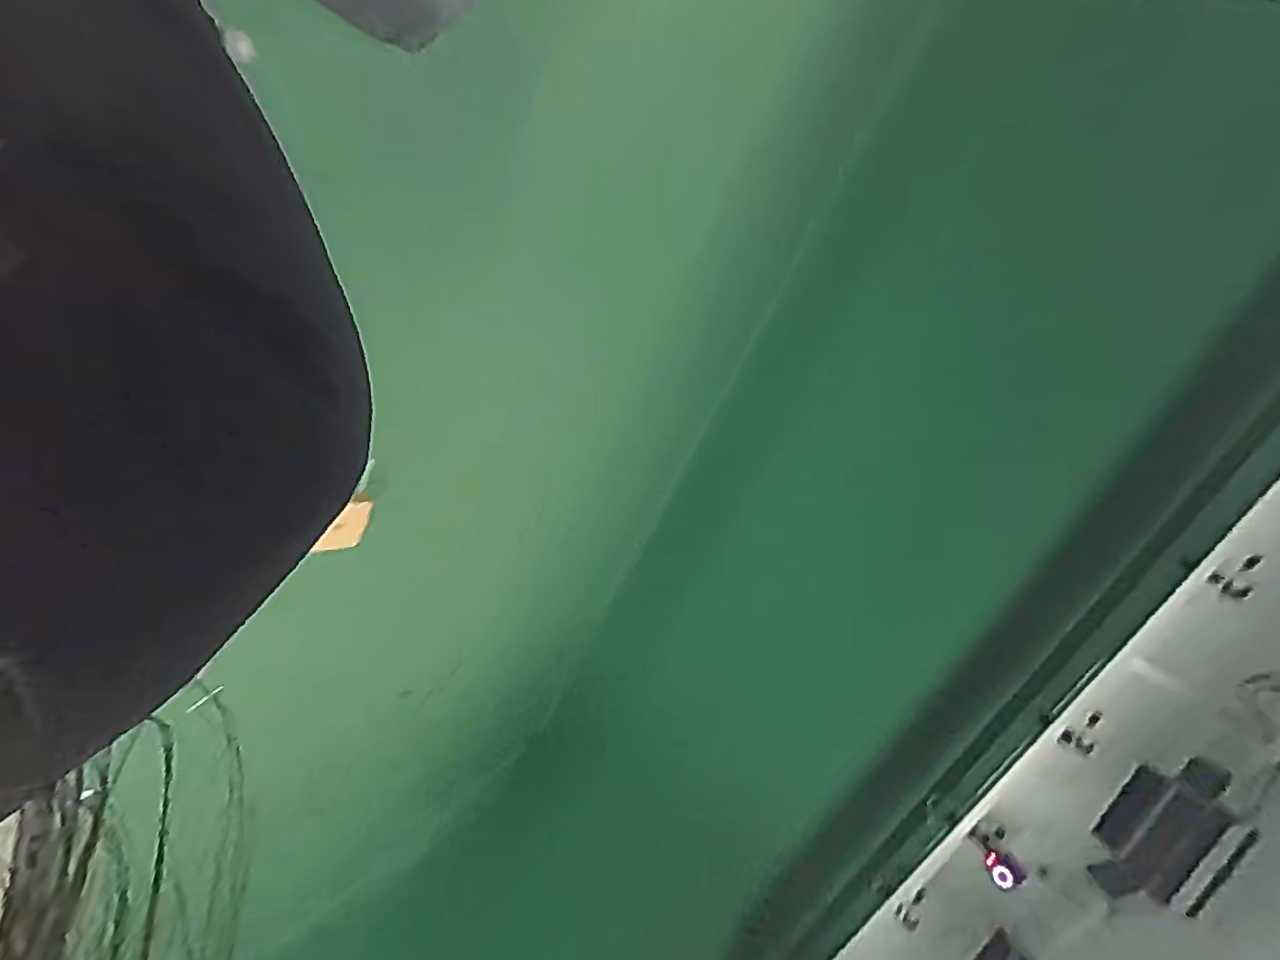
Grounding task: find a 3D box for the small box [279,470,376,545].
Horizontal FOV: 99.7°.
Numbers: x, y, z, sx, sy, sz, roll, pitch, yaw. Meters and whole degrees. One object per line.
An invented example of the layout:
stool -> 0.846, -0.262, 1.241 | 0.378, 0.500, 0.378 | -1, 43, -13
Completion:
small box -> -0.956, 0.079, 1.653 | 0.179, 0.176, 0.168 | -1, 121, -62
